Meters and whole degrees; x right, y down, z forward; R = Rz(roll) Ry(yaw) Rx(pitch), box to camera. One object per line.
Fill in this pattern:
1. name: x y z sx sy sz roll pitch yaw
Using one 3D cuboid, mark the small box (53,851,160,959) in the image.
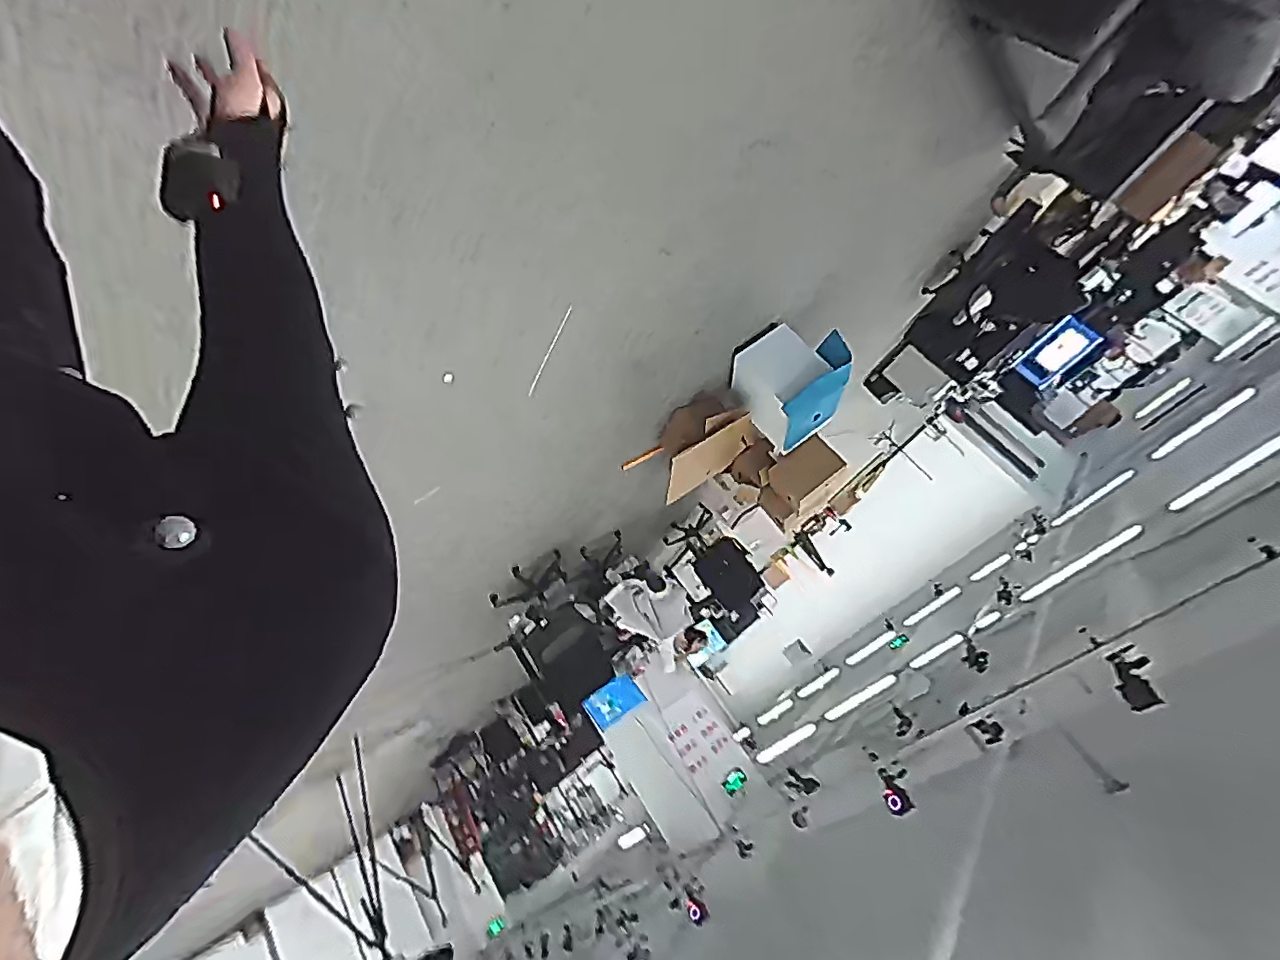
1. small box: -1.353 1.091 1.375 0.168 0.176 0.179 -13 147 -47
